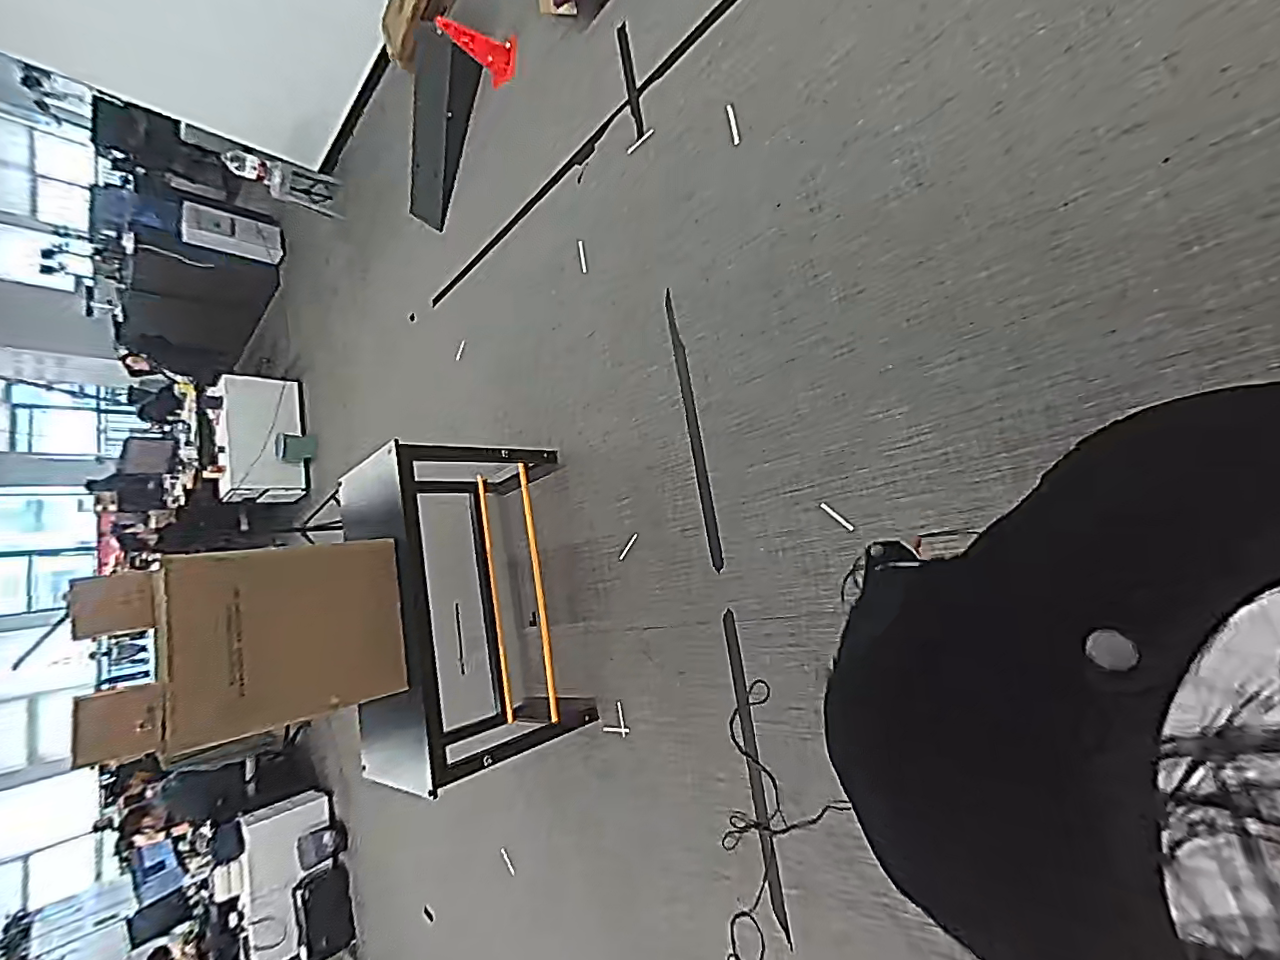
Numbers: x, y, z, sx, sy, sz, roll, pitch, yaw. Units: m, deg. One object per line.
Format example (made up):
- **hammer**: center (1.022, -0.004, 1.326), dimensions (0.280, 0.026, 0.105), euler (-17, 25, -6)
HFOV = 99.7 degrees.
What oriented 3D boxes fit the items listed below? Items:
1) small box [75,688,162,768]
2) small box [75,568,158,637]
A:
- **small box**: center (-1.488, 0.705, 1.546), dimensions (0.179, 0.176, 0.168), euler (-26, 71, 41)
- **small box**: center (-1.534, 0.361, 1.588), dimensions (0.179, 0.176, 0.168), euler (-20, 78, 44)
